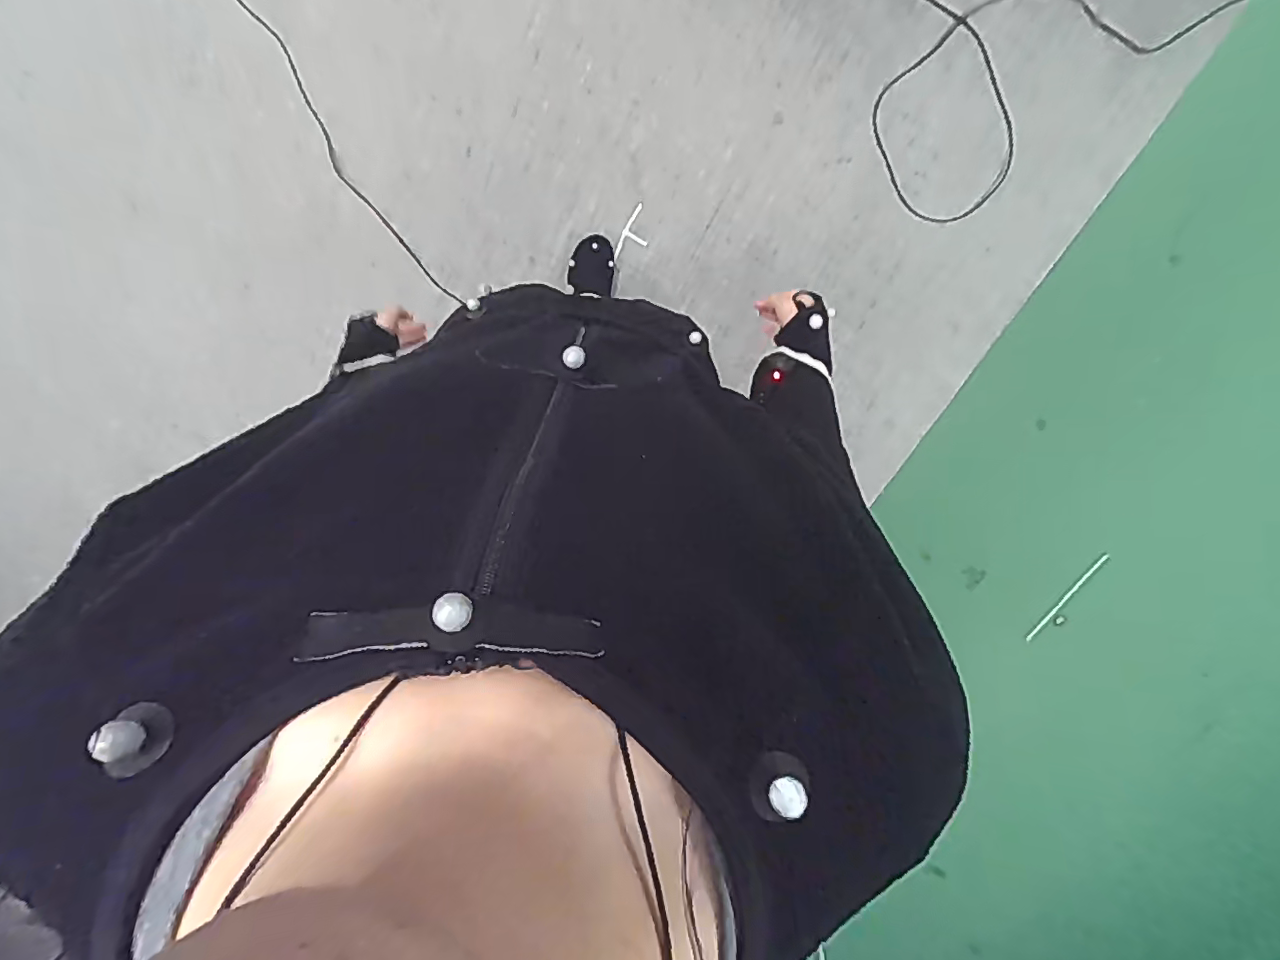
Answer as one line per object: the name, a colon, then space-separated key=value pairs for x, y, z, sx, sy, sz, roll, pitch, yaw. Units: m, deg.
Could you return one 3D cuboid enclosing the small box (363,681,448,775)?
small box: x=-0.723 y=0.770 z=1.686 sx=0.168 sy=0.176 sz=0.179 roll=28 pitch=107 yaw=-14
